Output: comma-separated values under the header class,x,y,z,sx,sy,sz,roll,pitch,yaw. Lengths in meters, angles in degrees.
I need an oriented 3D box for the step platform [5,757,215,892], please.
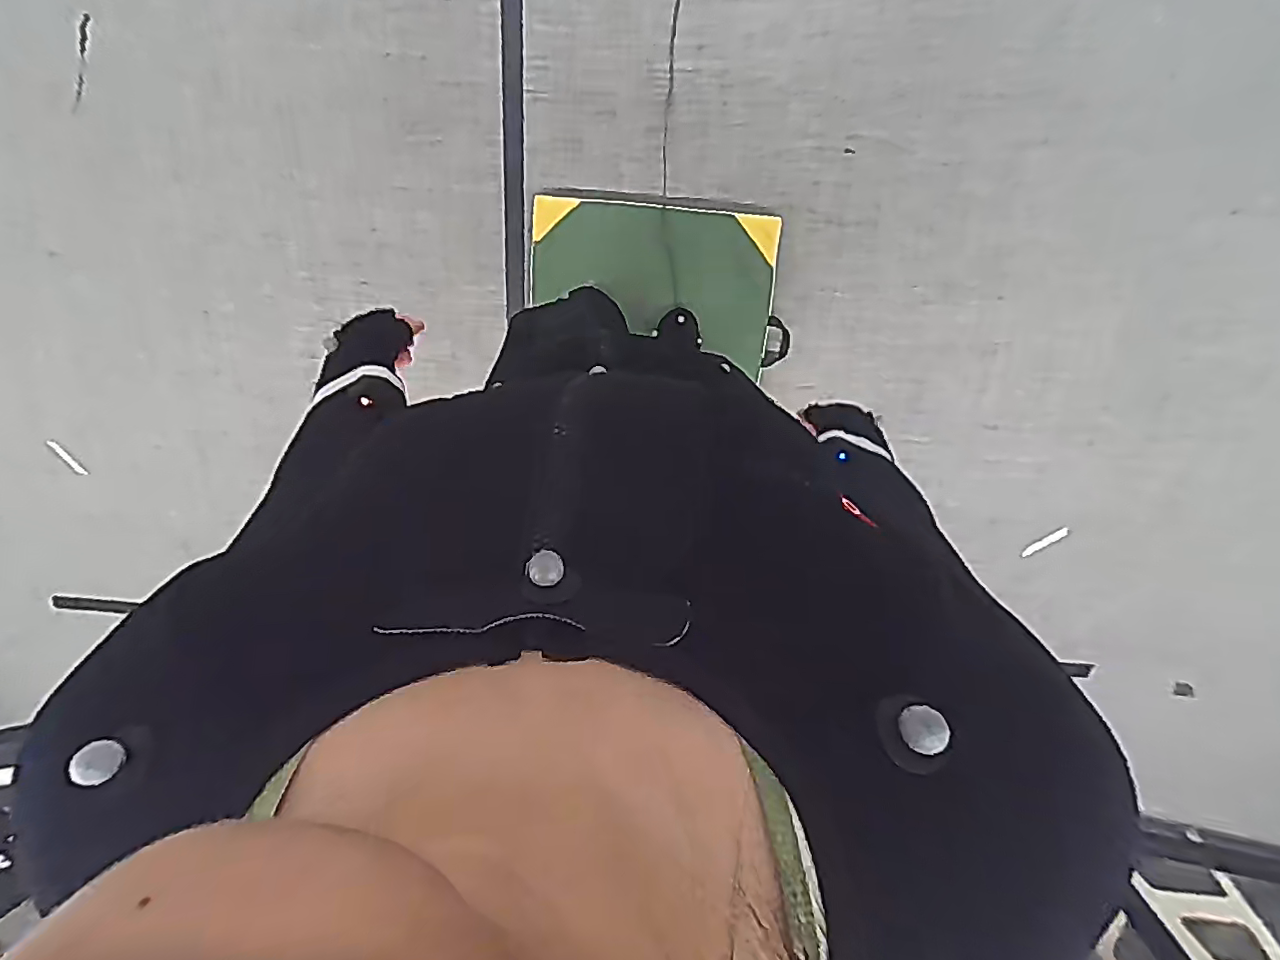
class,x,y,z,sx,sy,sz,roll,pitch,yaw
step platform,-1.999,1.302,2.040,0.684,0.204,0.286,-24,106,11
